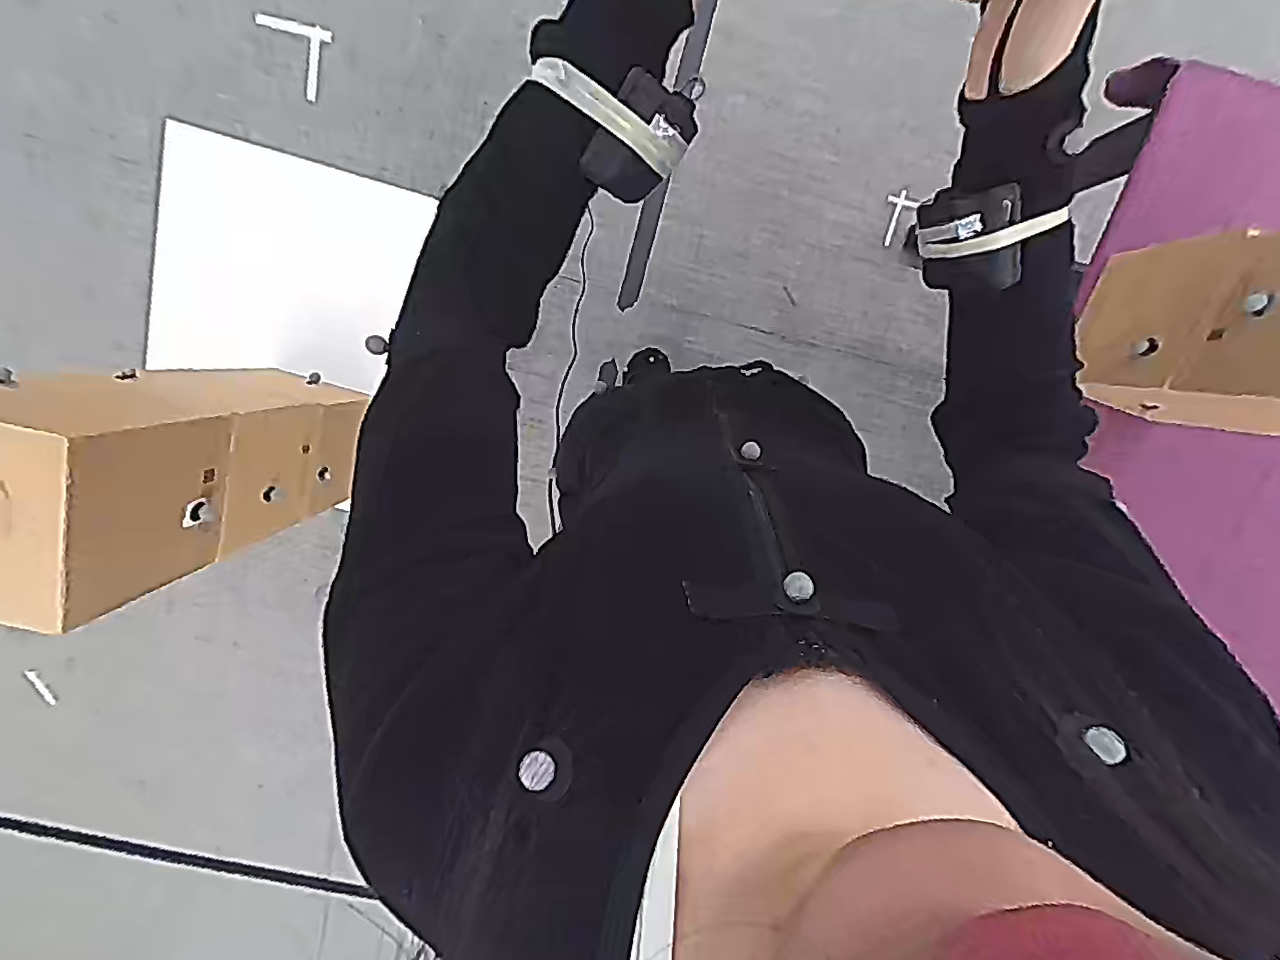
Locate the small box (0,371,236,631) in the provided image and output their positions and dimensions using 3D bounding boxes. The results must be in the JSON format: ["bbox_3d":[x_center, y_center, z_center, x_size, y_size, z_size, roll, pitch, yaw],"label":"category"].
[{"bbox_3d":[-0.509,0.004,0.475,0.179,0.176,0.168,14,103,-4],"label":"small box"}]

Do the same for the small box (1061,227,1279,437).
[{"bbox_3d":[0.663,-0.168,0.647,0.168,0.176,0.179,18,101,-5],"label":"small box"}]

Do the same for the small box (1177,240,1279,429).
[{"bbox_3d":[0.673,-0.127,0.488,0.179,0.176,0.168,18,102,-4],"label":"small box"}]

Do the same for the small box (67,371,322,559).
[{"bbox_3d":[-0.509,-0.029,0.634,0.179,0.176,0.168,14,102,-3],"label":"small box"}]

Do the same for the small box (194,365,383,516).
[{"bbox_3d":[-0.514,-0.064,0.794,0.179,0.176,0.168,15,101,-3],"label":"small box"}]
